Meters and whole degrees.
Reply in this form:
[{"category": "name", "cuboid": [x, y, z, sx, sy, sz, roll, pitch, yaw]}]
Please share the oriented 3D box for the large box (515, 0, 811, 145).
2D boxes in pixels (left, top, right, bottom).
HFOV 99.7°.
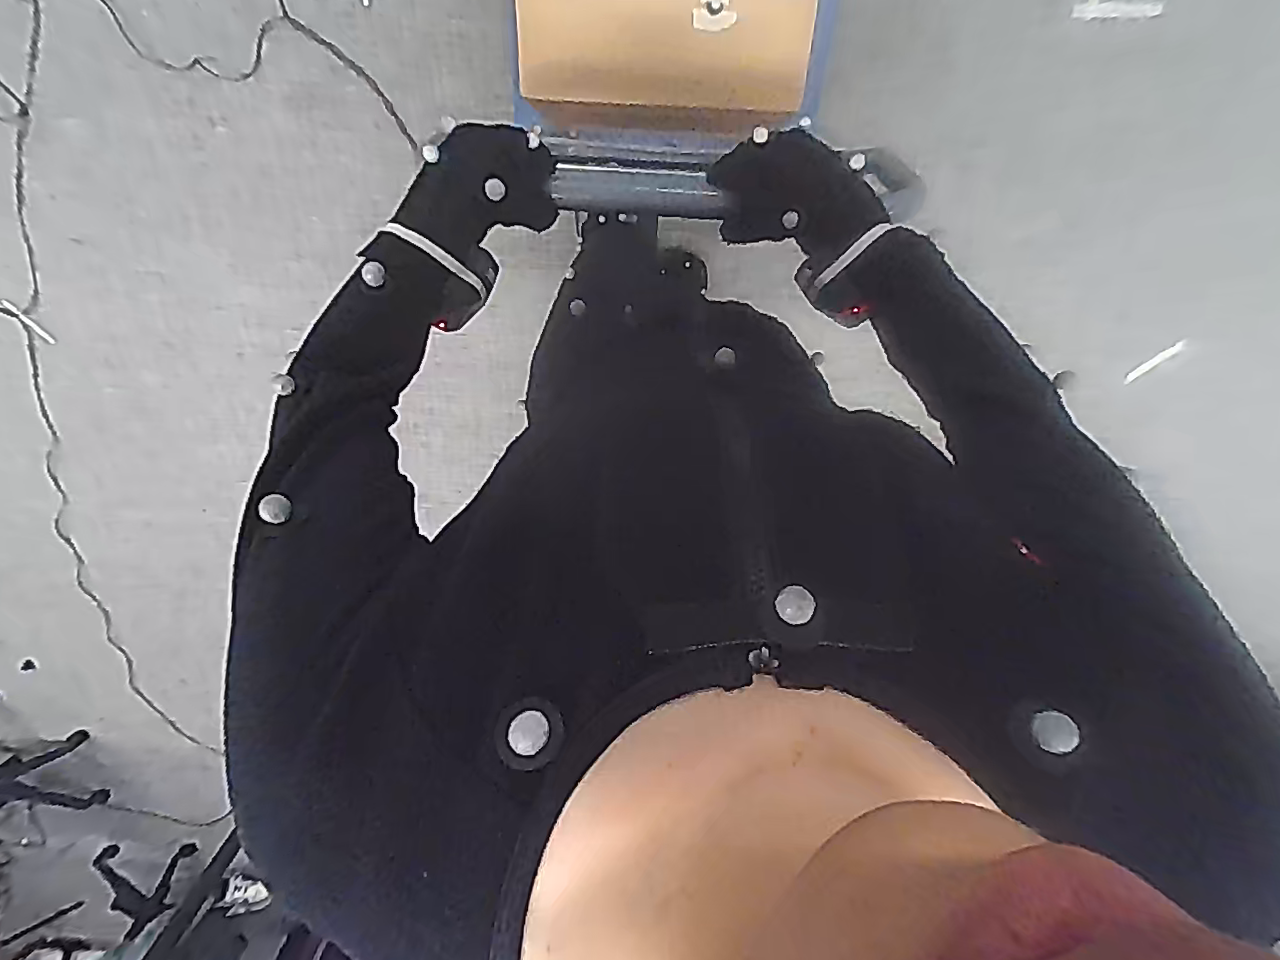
[{"category": "large box", "cuboid": [0.030, -0.726, 0.844, 0.408, 0.320, 0.320, 2, 116, -1]}]
